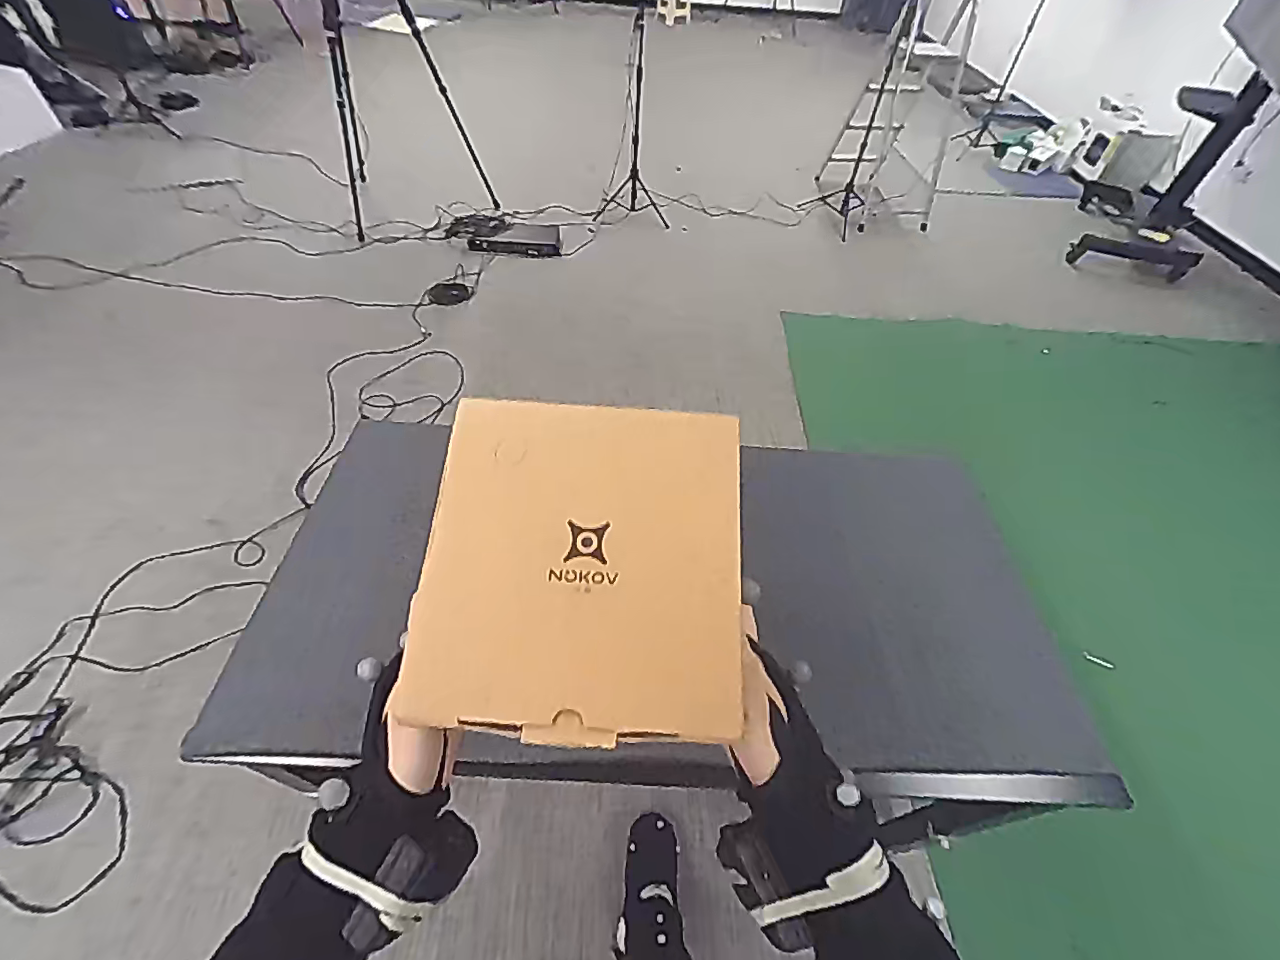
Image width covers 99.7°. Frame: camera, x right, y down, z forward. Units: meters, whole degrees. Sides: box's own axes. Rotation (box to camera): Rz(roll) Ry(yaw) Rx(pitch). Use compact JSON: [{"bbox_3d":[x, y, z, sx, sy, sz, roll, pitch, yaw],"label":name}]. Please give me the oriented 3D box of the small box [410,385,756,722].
[{"bbox_3d":[-0.026,0.060,0.358,0.168,0.176,0.179,3,68,-1],"label":"small box"}]
